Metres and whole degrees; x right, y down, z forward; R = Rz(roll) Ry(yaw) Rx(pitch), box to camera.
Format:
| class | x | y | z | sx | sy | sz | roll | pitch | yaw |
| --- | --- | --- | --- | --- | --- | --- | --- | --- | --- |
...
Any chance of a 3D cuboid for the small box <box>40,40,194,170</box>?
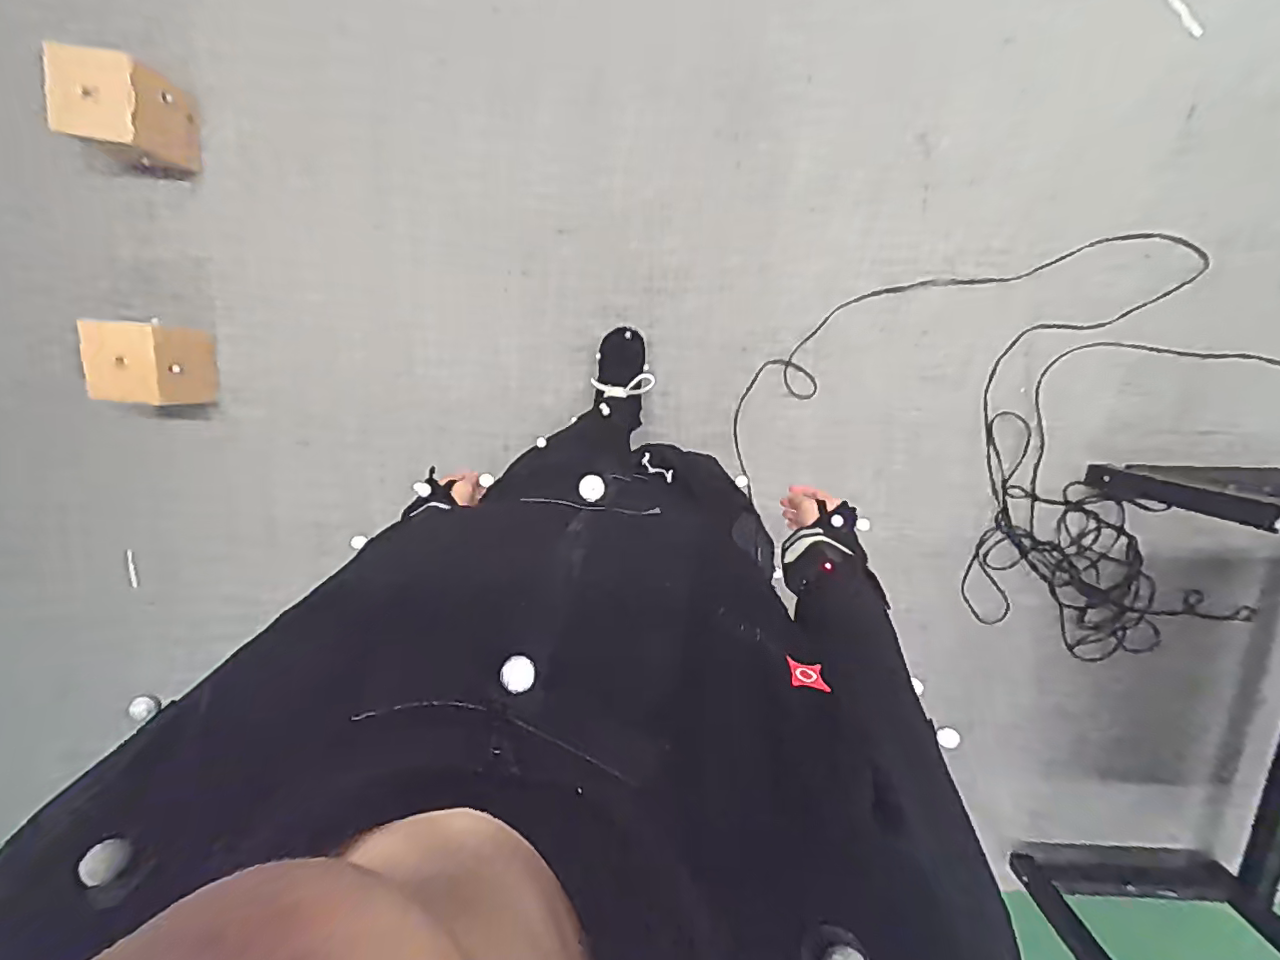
| class | x | y | z | sx | sy | sz | roll | pitch | yaw |
| --- | --- | --- | --- | --- | --- | --- | --- | --- | --- |
| small box | -1.093 | -0.783 | 1.148 | 0.179 | 0.176 | 0.168 | 8 | 100 | 1 |

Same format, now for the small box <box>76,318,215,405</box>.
| class | x | y | z | sx | sy | sz | roll | pitch | yaw |
| --- | --- | --- | --- | --- | --- | --- | --- | --- | --- |
| small box | -1.133 | -0.272 | 1.254 | 0.168 | 0.176 | 0.179 | 4 | 102 | 1 |
